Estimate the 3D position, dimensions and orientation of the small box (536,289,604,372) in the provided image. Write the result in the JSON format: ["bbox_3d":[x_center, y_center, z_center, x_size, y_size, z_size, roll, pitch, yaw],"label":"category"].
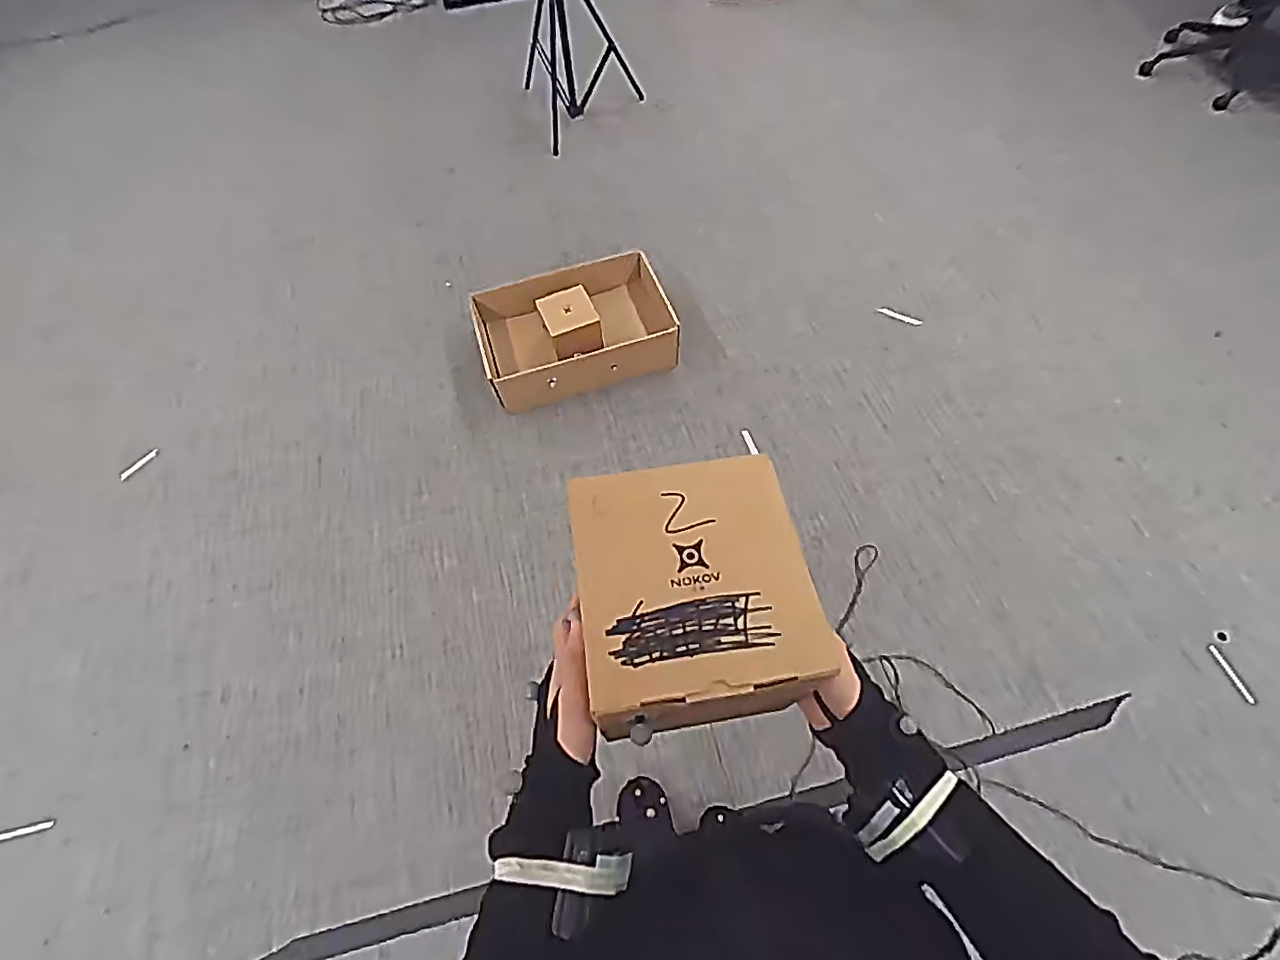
[{"bbox_3d":[-0.229,-0.492,1.793,0.168,0.176,0.179,-23,64,-9],"label":"small box"}]
